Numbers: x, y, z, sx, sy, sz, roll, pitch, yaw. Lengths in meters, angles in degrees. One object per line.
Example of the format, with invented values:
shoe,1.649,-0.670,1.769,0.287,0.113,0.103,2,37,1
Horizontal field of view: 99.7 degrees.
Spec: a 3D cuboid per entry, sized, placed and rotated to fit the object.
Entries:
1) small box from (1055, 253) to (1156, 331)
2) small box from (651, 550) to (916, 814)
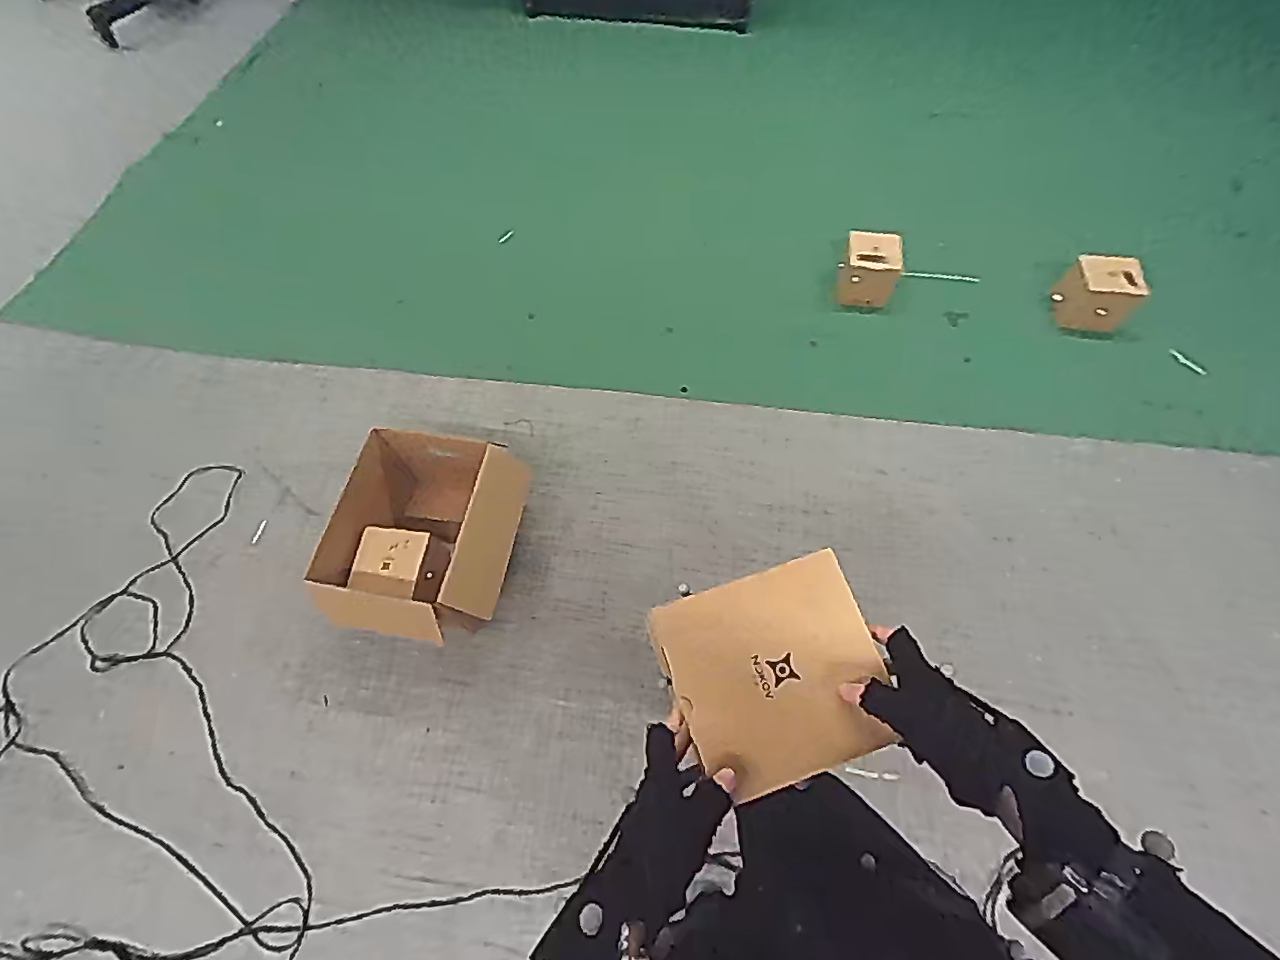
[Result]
small box,1.513,-0.610,1.767,0.179,0.176,0.168,8,63,6
small box,0.116,0.180,0.523,0.179,0.176,0.168,-19,74,-4
